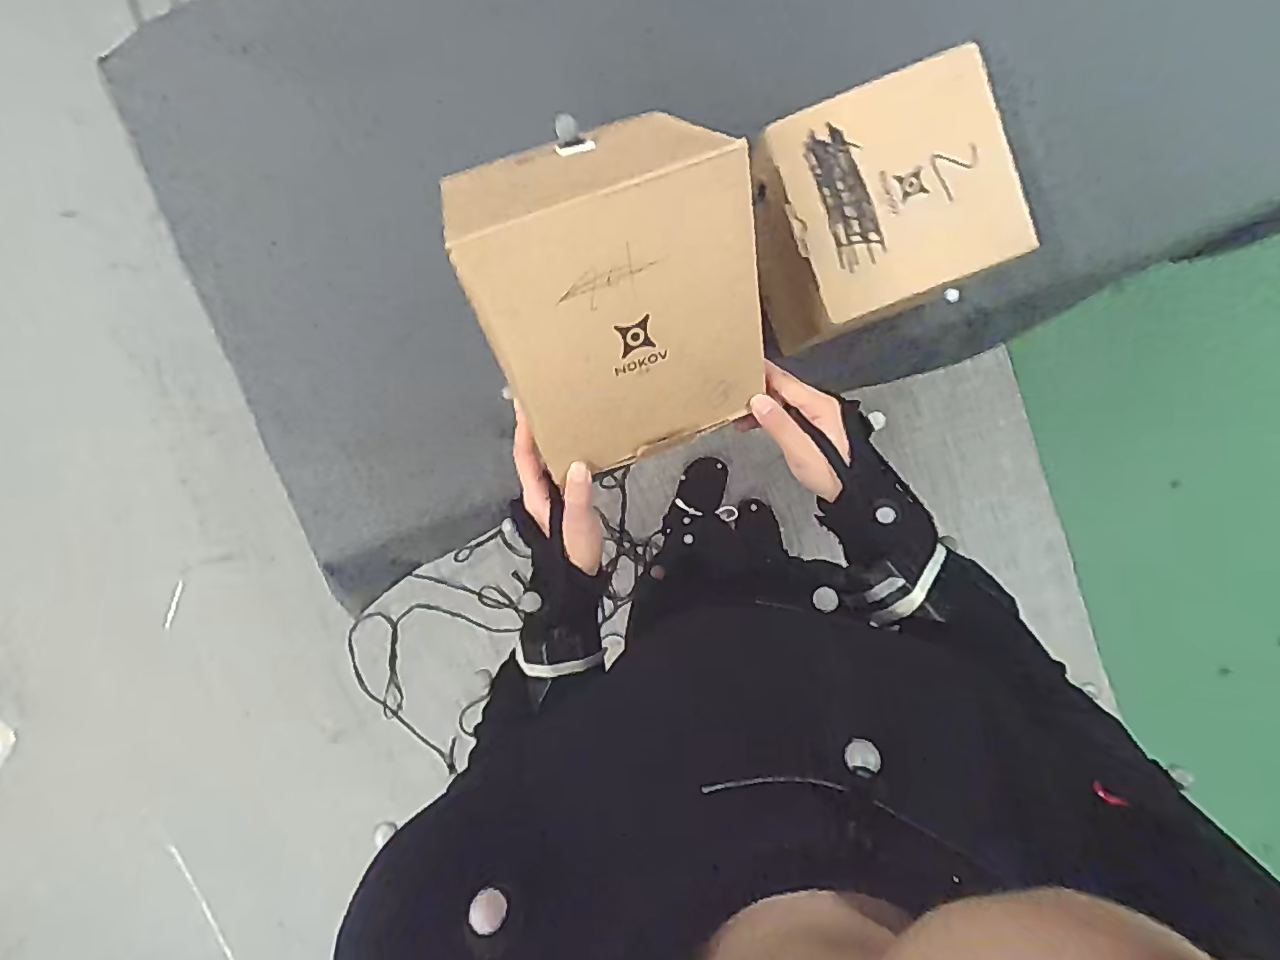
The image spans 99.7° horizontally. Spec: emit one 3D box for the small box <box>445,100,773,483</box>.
[{"bbox_3d":[-0.021,-0.134,0.380,0.168,0.176,0.179,-21,134,-4],"label":"small box"}]
